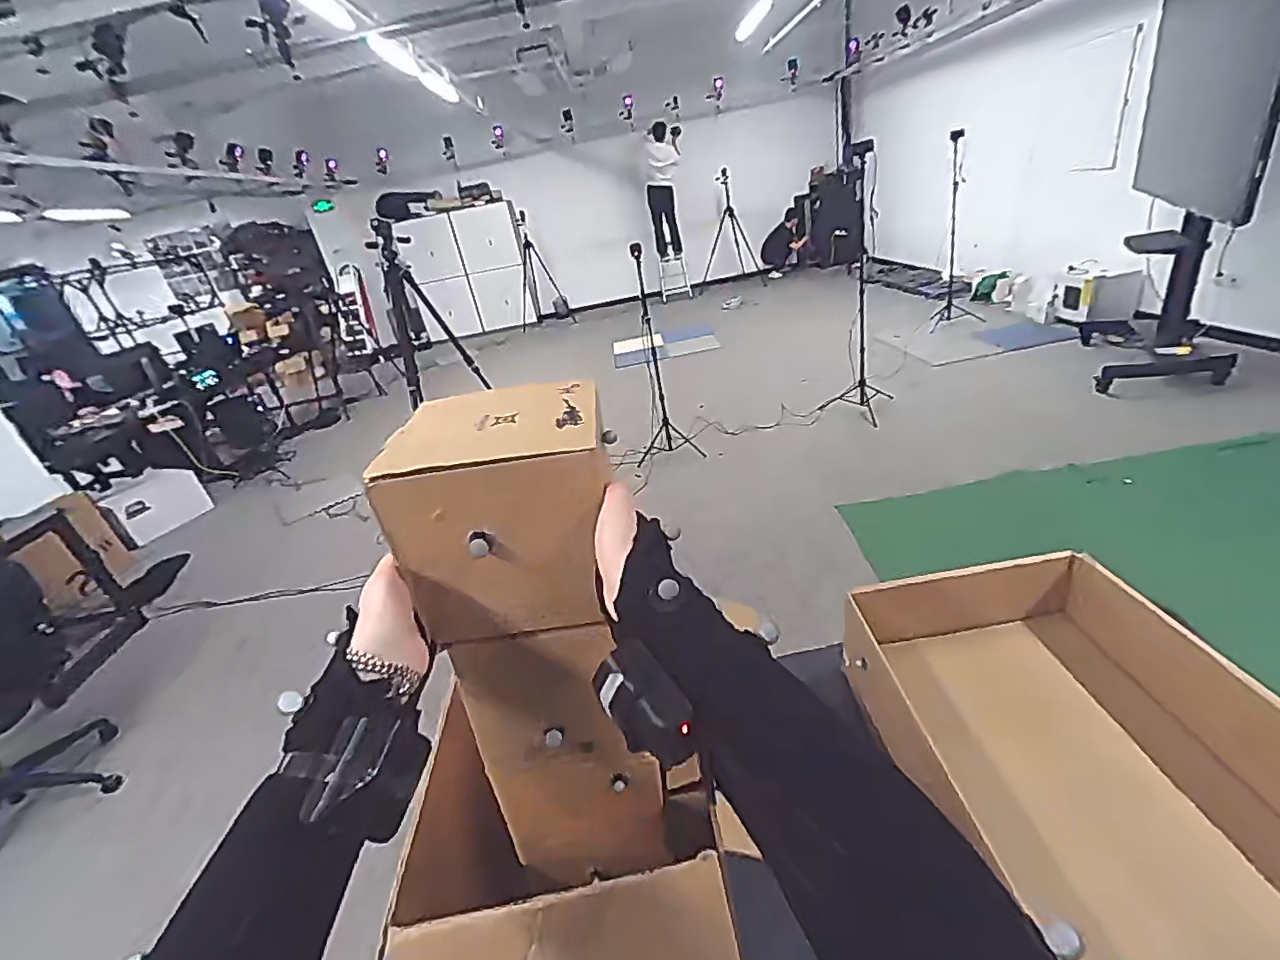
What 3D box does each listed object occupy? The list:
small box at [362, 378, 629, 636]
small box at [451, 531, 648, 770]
[{"bbox_3d":[-0.112,0.023,0.500,0.179,0.176,0.168,-9,30,0],"label":"small box"},{"bbox_3d":[-0.084,0.174,0.584,0.168,0.176,0.179,-7,26,-2],"label":"small box"}]
